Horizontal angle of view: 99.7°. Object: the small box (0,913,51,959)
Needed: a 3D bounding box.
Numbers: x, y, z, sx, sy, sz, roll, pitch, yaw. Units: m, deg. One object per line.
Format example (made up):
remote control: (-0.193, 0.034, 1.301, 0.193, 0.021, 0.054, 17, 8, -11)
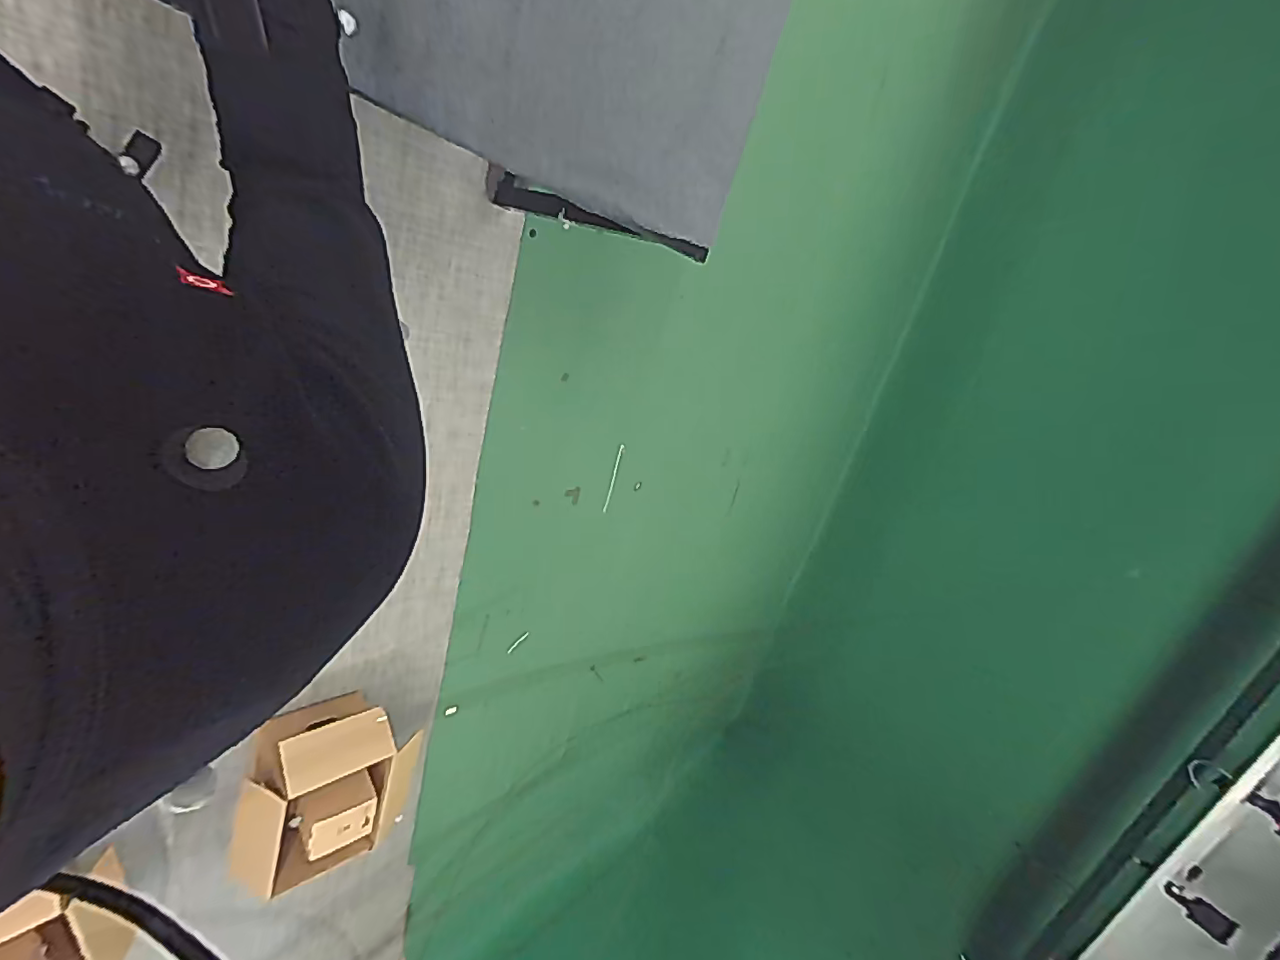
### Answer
small box: (-1.425, 1.105, 1.181, 0.168, 0.176, 0.179, -12, 122, -43)
